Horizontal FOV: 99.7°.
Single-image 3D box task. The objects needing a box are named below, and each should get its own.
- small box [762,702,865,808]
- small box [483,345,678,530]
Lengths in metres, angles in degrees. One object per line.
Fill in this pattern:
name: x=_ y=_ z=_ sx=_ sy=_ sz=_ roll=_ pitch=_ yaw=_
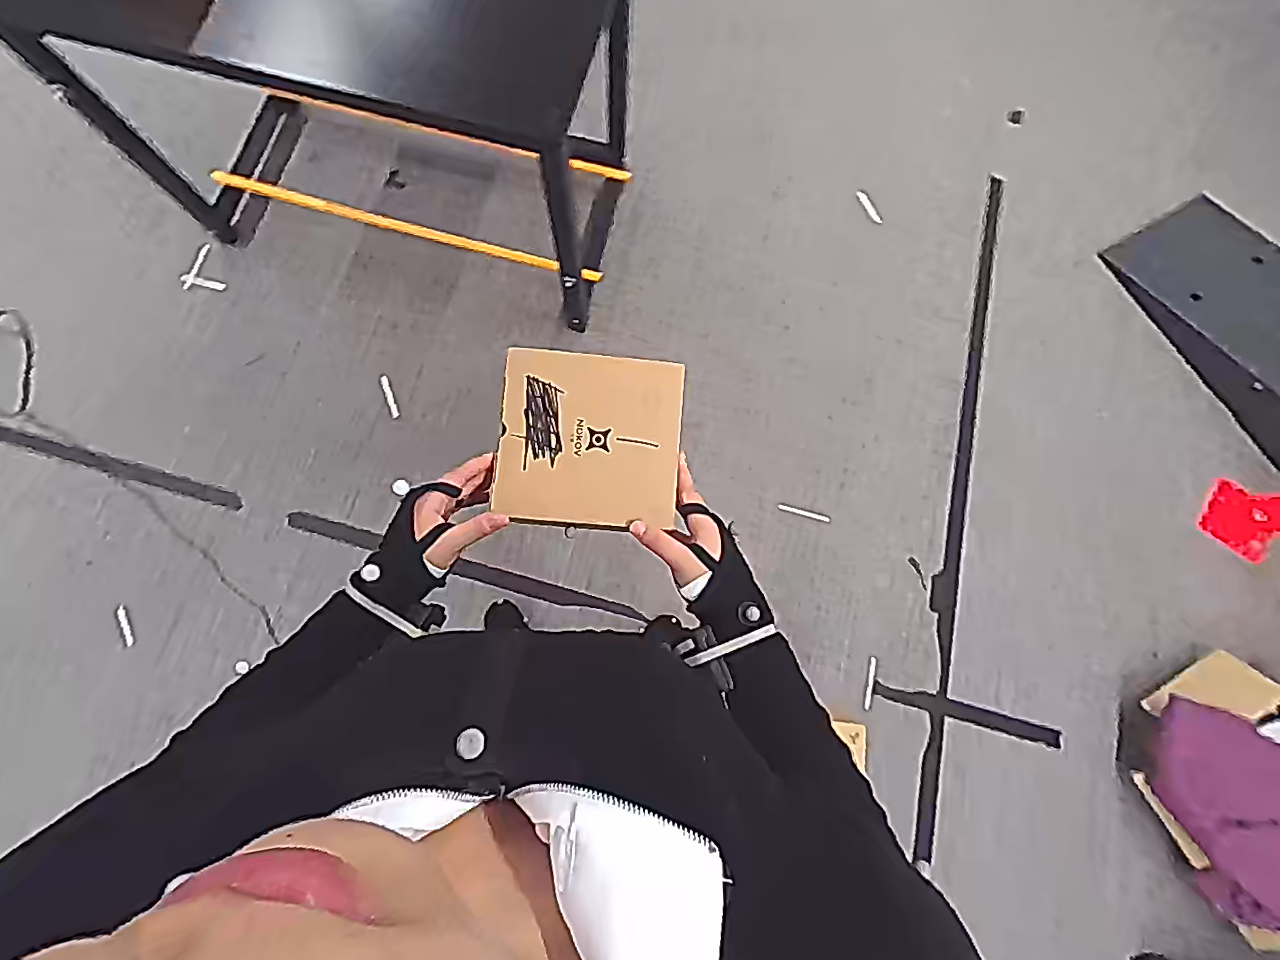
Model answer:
small box: x=0.380 y=0.602 z=1.205 sx=0.179 sy=0.176 sz=0.168 roll=8 pitch=77 yaw=0
small box: x=-0.060 y=-0.034 z=0.594 sx=0.179 sy=0.176 sz=0.168 roll=4 pitch=83 yaw=-4
